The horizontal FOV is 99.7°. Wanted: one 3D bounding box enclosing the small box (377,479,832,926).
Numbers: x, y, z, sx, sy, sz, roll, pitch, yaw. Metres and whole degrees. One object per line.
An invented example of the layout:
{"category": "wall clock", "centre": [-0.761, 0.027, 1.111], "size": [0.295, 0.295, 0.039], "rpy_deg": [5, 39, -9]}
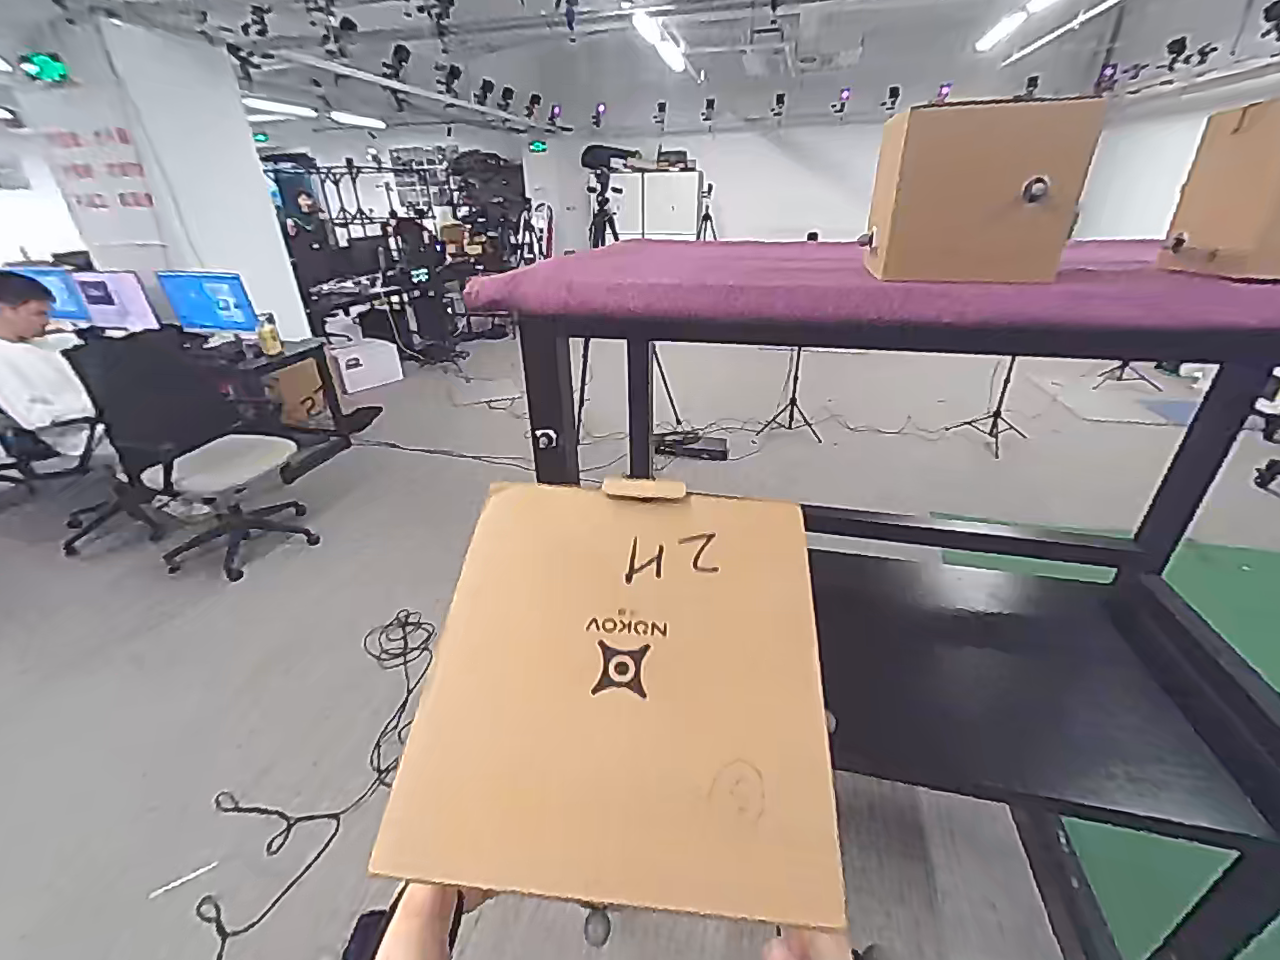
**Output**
{"category": "small box", "centre": [-0.005, 0.122, 0.300], "size": [0.168, 0.176, 0.179], "rpy_deg": [4, 53, 3]}

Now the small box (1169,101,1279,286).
{"category": "small box", "centre": [0.711, -0.296, 0.562], "size": [0.179, 0.176, 0.168], "rpy_deg": [6, 26, 14]}

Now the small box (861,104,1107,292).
{"category": "small box", "centre": [0.367, -0.316, 0.620], "size": [0.179, 0.176, 0.168], "rpy_deg": [4, 28, 12]}
